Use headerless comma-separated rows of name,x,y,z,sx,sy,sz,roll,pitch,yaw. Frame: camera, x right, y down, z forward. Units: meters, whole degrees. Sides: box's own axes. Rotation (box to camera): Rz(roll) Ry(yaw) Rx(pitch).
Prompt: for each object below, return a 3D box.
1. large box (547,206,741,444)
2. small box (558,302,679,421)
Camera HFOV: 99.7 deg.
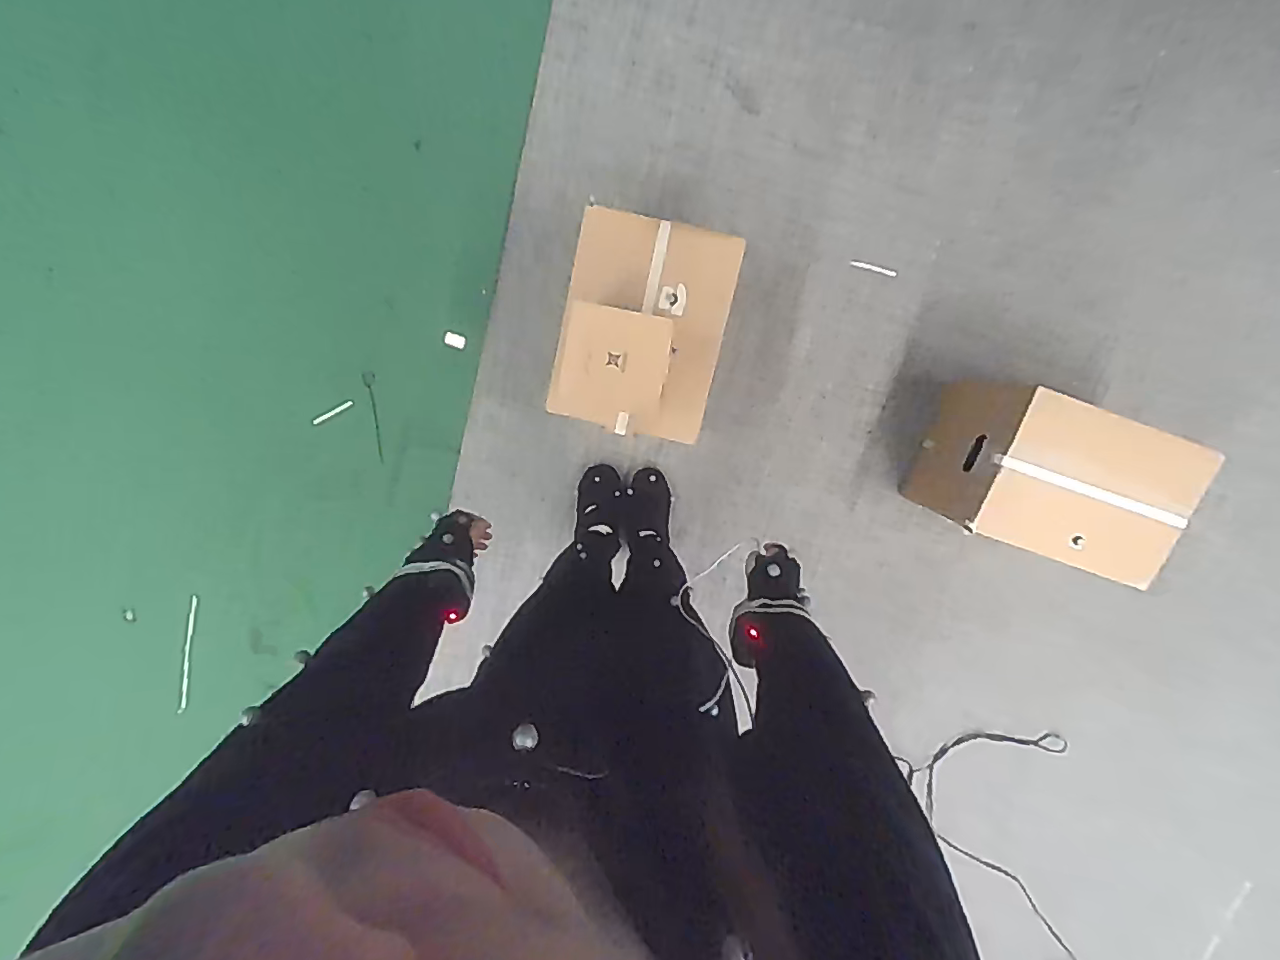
large box,0.007,-0.317,1.196,0.320,0.320,0.408,14,100,-1
small box,-0.033,-0.209,0.968,0.179,0.176,0.168,13,100,1
